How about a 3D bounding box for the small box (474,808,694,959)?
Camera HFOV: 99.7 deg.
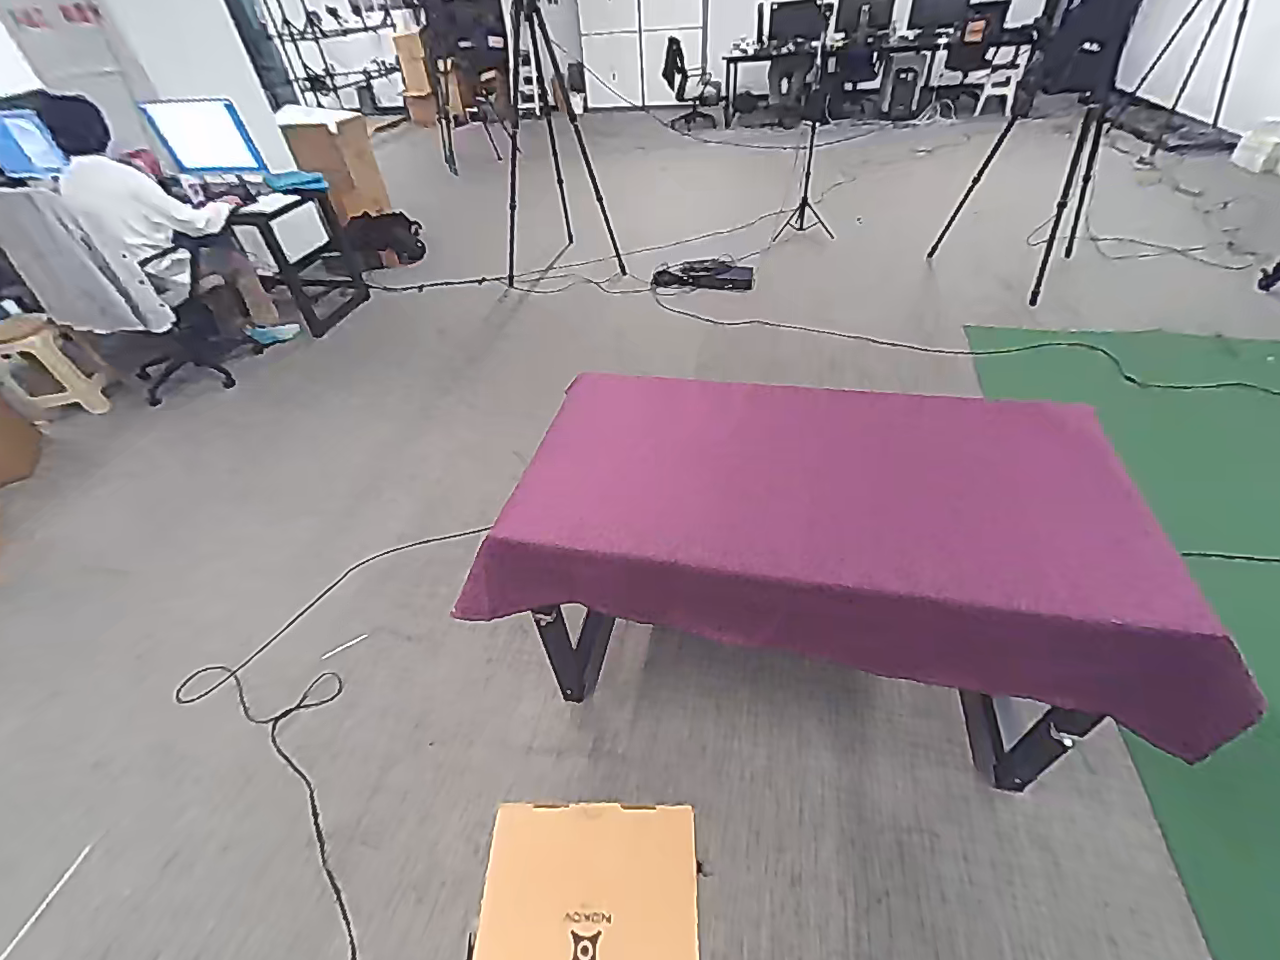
[{"bbox_3d":[-0.037,0.398,0.465,0.168,0.176,0.179,-1,49,3],"label":"small box"}]
